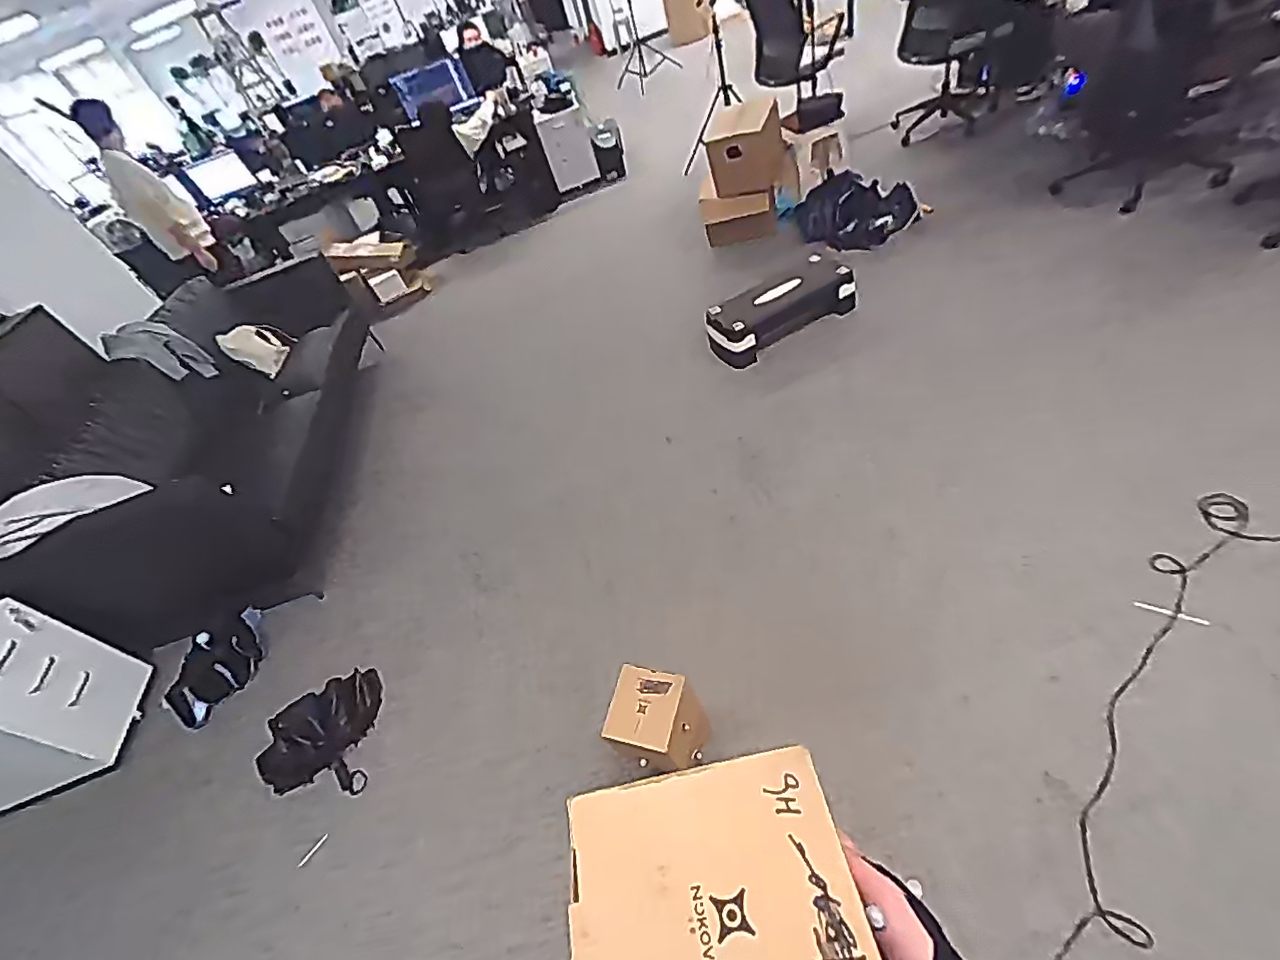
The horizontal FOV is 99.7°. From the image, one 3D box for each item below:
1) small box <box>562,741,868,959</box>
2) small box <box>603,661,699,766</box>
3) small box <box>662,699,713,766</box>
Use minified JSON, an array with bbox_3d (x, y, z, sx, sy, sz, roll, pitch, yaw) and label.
[{"bbox_3d":[0.053,0.313,0.394,0.179,0.176,0.168,-13,51,1],"label":"small box"},{"bbox_3d":[0.036,0.569,1.311,0.168,0.176,0.179,2,52,25],"label":"small box"},{"bbox_3d":[0.073,0.659,1.446,0.179,0.176,0.168,15,57,31],"label":"small box"}]
